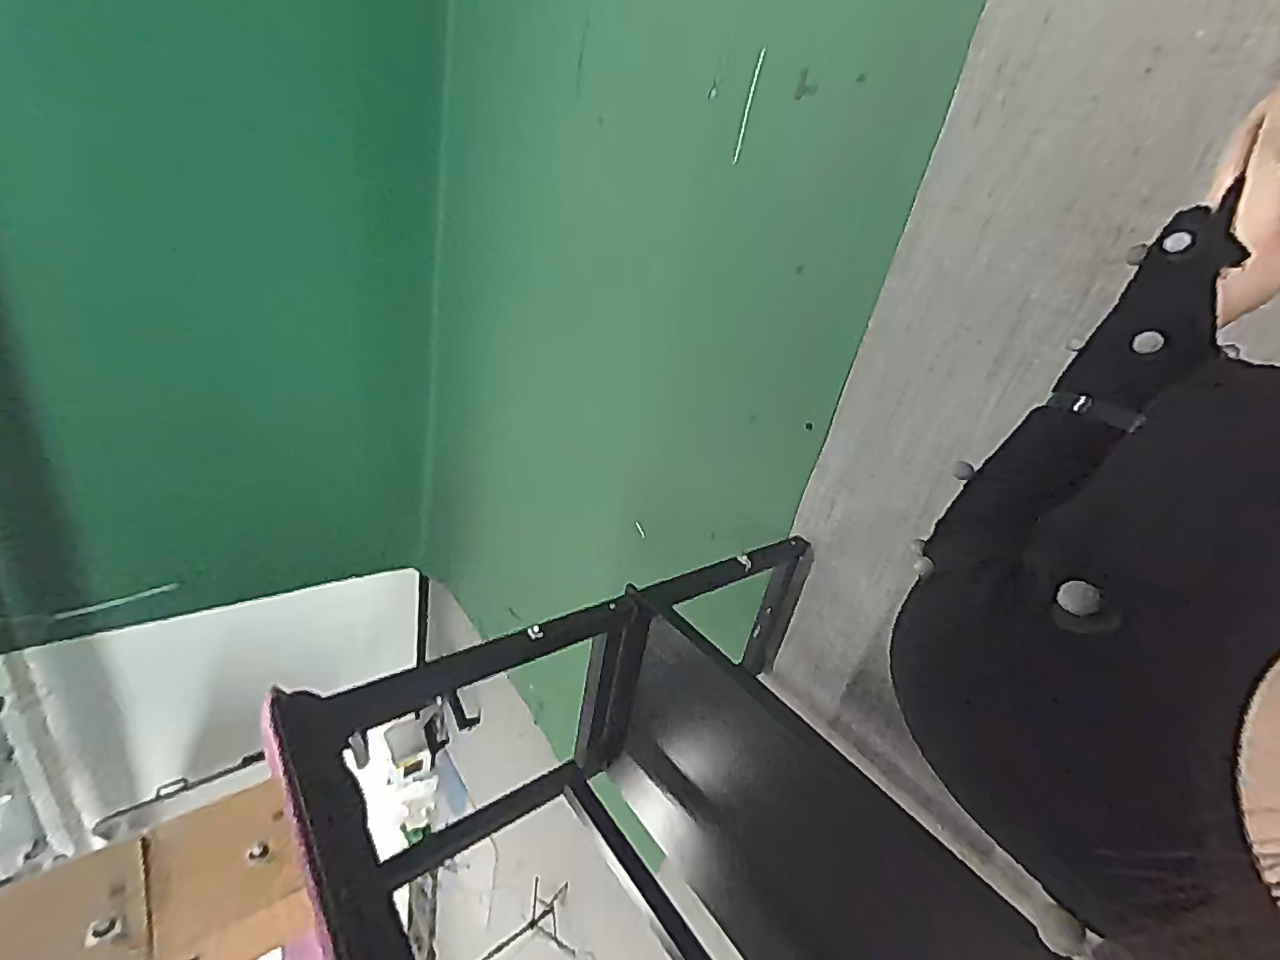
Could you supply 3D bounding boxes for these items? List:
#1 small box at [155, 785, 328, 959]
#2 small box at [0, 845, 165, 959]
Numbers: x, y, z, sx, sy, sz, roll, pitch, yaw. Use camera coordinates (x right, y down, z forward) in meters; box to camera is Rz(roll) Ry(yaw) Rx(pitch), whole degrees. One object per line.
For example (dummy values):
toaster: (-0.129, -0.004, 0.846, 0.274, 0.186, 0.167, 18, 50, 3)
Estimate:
small box: (-0.545, 0.573, 0.750, 0.168, 0.176, 0.179, 44, 127, 34)
small box: (-0.665, 0.587, 0.641, 0.168, 0.176, 0.179, 47, 128, 31)
